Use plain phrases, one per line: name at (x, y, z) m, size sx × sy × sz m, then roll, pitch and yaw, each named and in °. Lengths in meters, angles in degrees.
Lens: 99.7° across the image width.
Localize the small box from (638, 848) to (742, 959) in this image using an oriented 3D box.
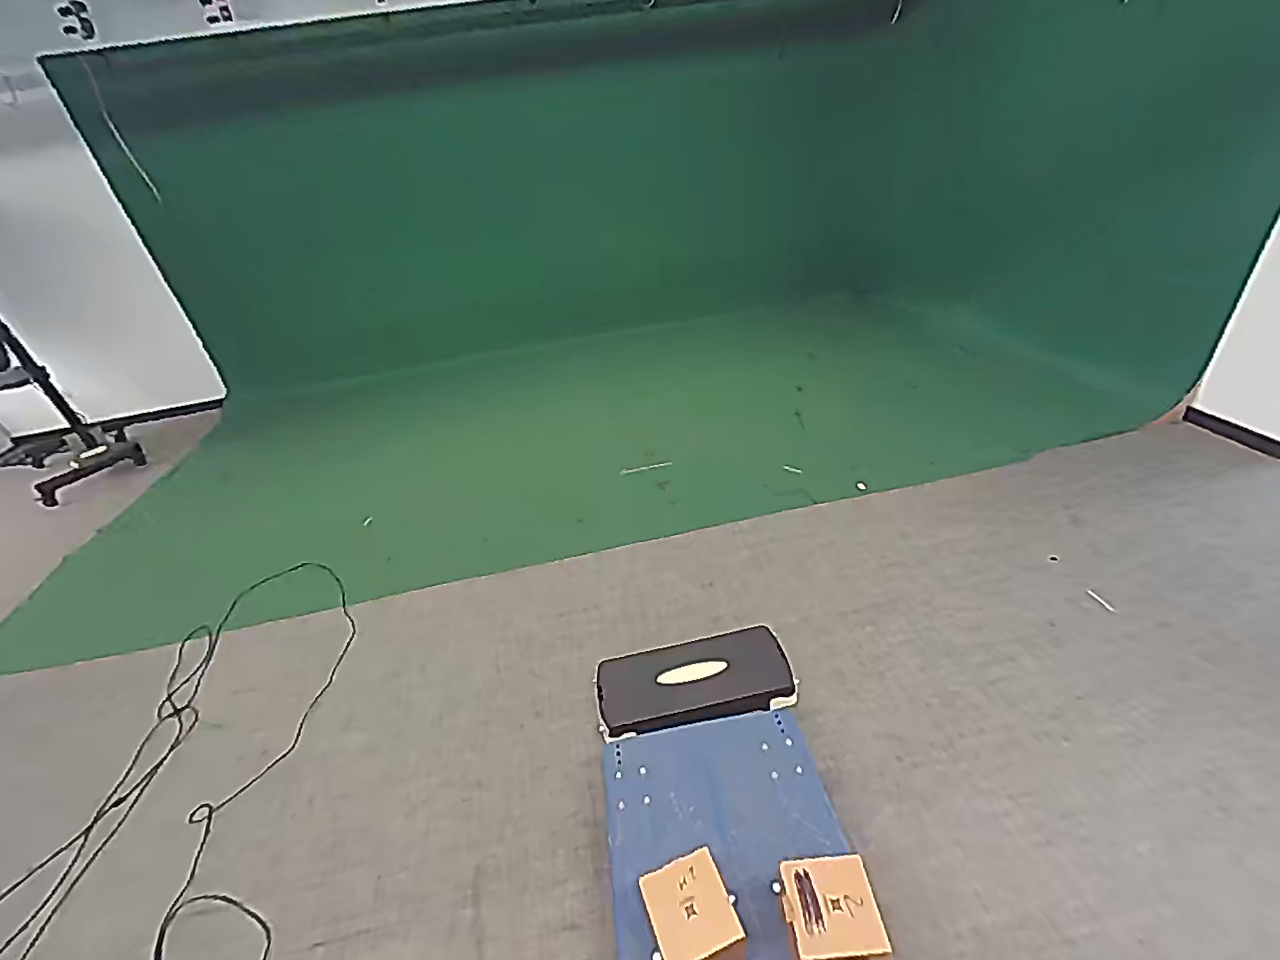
small box at (0.106, 0.939, 1.146) m, size 0.168 × 0.176 × 0.179 m, roll -15°, pitch 34°, yaw -14°
